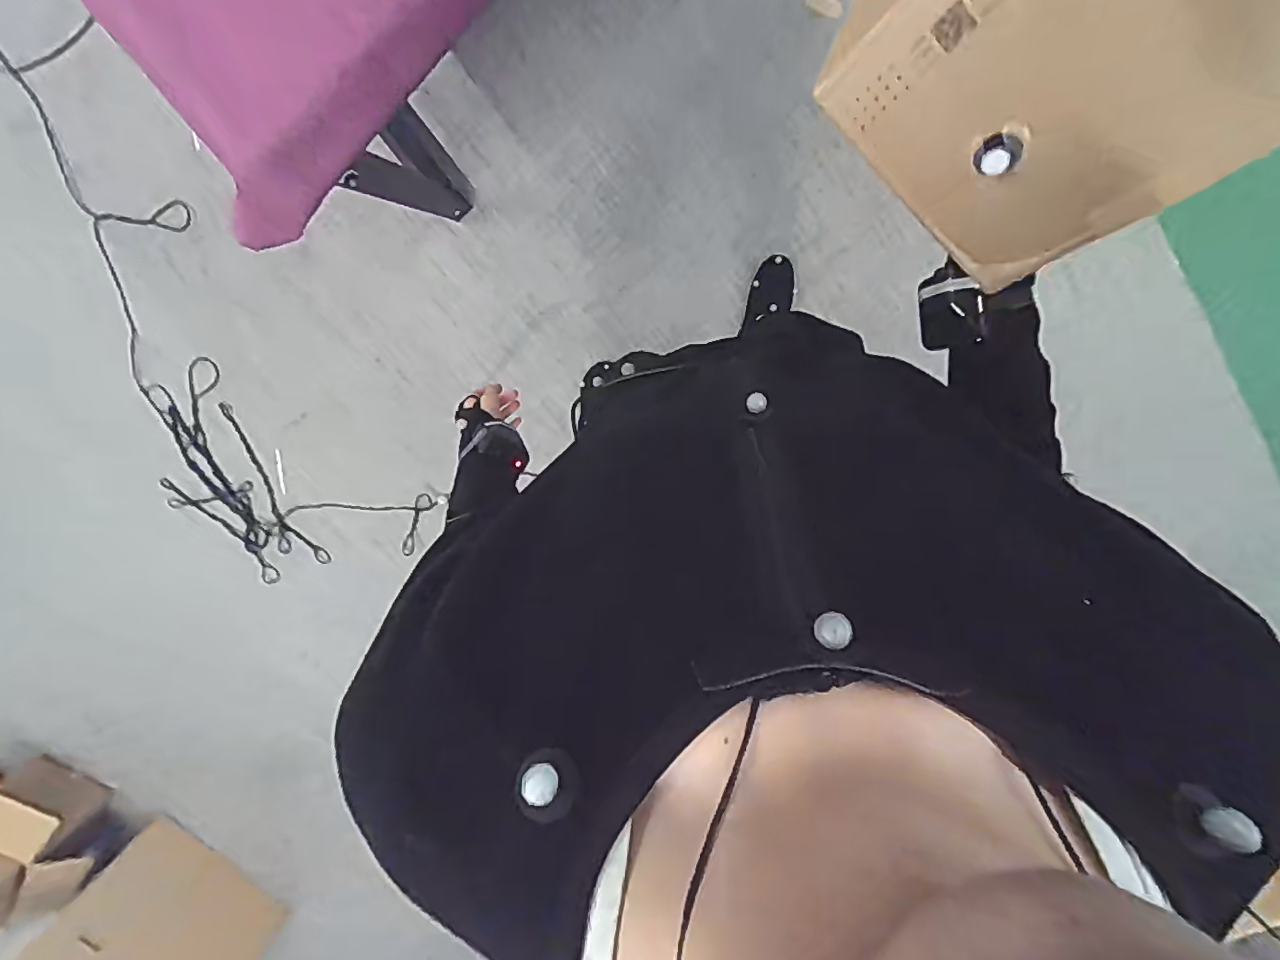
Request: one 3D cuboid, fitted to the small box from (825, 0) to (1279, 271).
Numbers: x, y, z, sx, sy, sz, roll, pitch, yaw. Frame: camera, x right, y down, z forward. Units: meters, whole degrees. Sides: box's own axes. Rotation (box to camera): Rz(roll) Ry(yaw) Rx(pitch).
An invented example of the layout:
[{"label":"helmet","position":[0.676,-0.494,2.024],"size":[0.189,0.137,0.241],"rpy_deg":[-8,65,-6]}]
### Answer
[{"label":"small box","position":[0.220,-0.257,0.277],"size":[0.176,0.179,0.168],"rpy_deg":[35,149,-18]}]
